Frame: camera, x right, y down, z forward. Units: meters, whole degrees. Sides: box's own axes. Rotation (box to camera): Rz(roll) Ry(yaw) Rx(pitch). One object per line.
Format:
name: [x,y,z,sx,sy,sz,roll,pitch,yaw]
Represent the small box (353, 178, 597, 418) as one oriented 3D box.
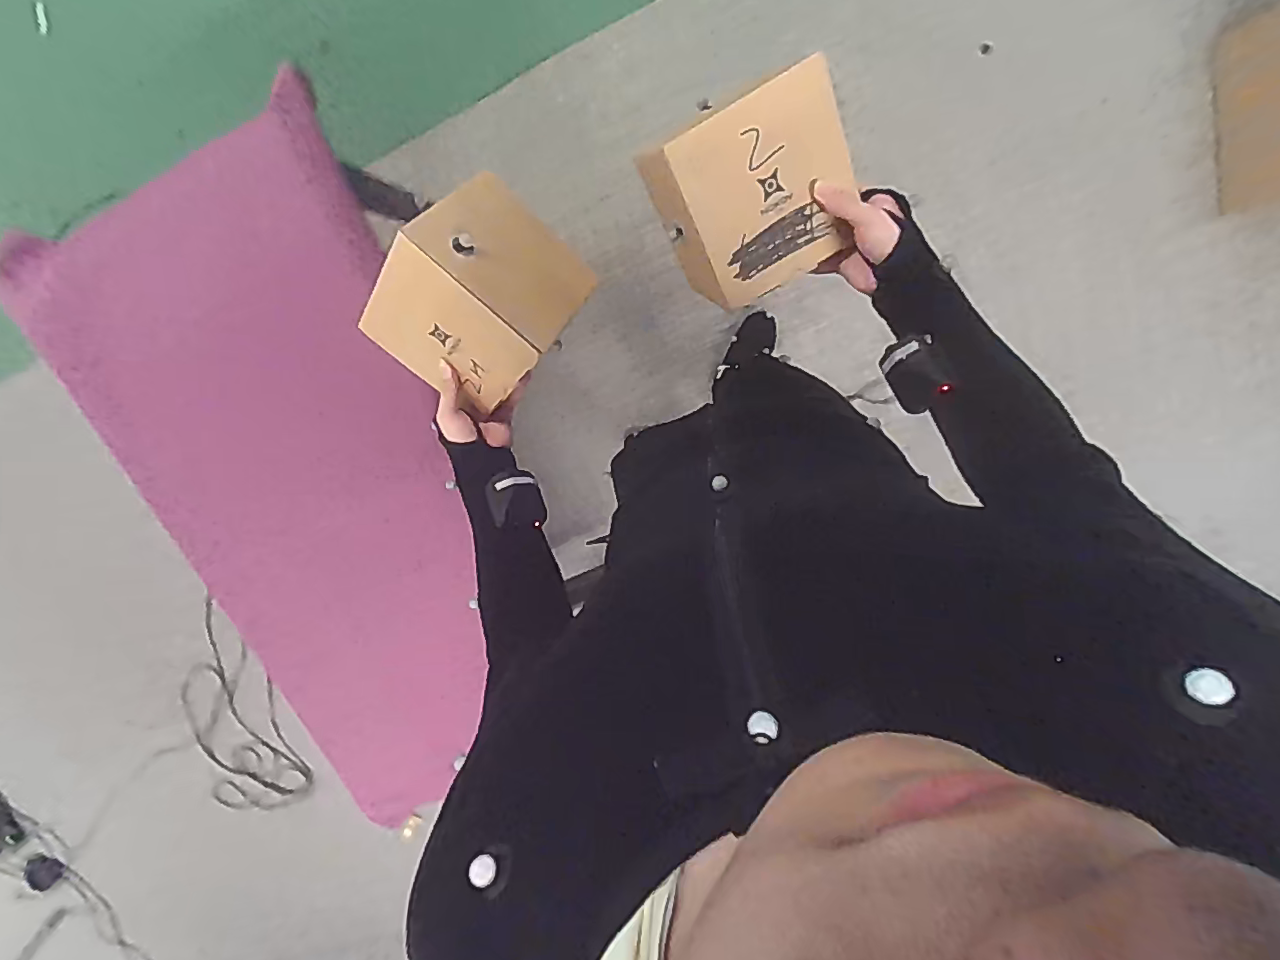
small box: [-0.182,-0.212,0.622,0.179,0.176,0.168,41,138,-20]
